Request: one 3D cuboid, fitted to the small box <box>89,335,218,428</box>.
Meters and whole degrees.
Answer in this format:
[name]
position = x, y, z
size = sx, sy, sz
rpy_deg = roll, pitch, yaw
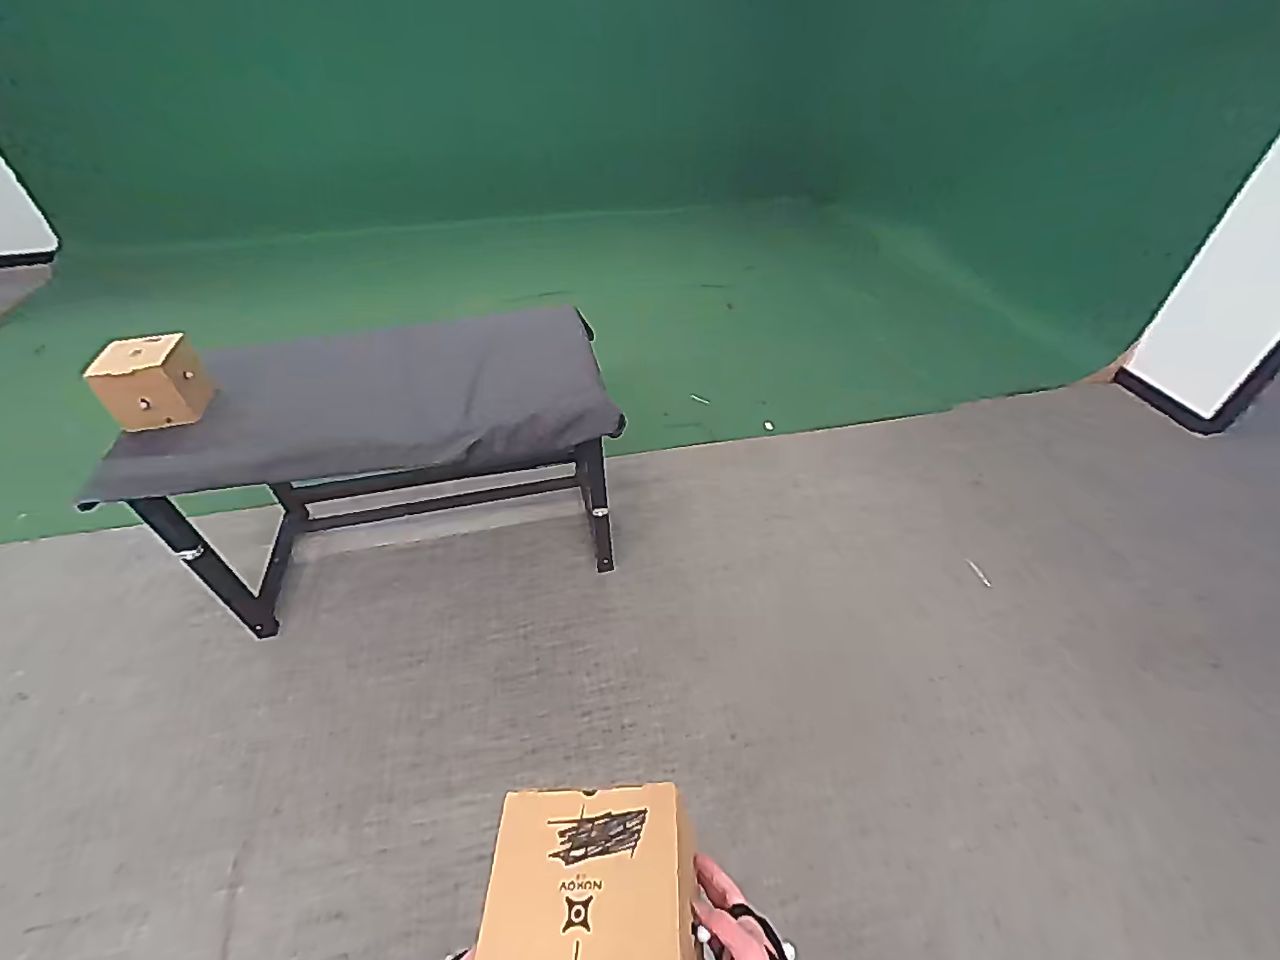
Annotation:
[small box]
position = -1.232, -0.246, 1.389
size = 0.168, 0.176, 0.179
rpy_deg = -10, 45, -11
